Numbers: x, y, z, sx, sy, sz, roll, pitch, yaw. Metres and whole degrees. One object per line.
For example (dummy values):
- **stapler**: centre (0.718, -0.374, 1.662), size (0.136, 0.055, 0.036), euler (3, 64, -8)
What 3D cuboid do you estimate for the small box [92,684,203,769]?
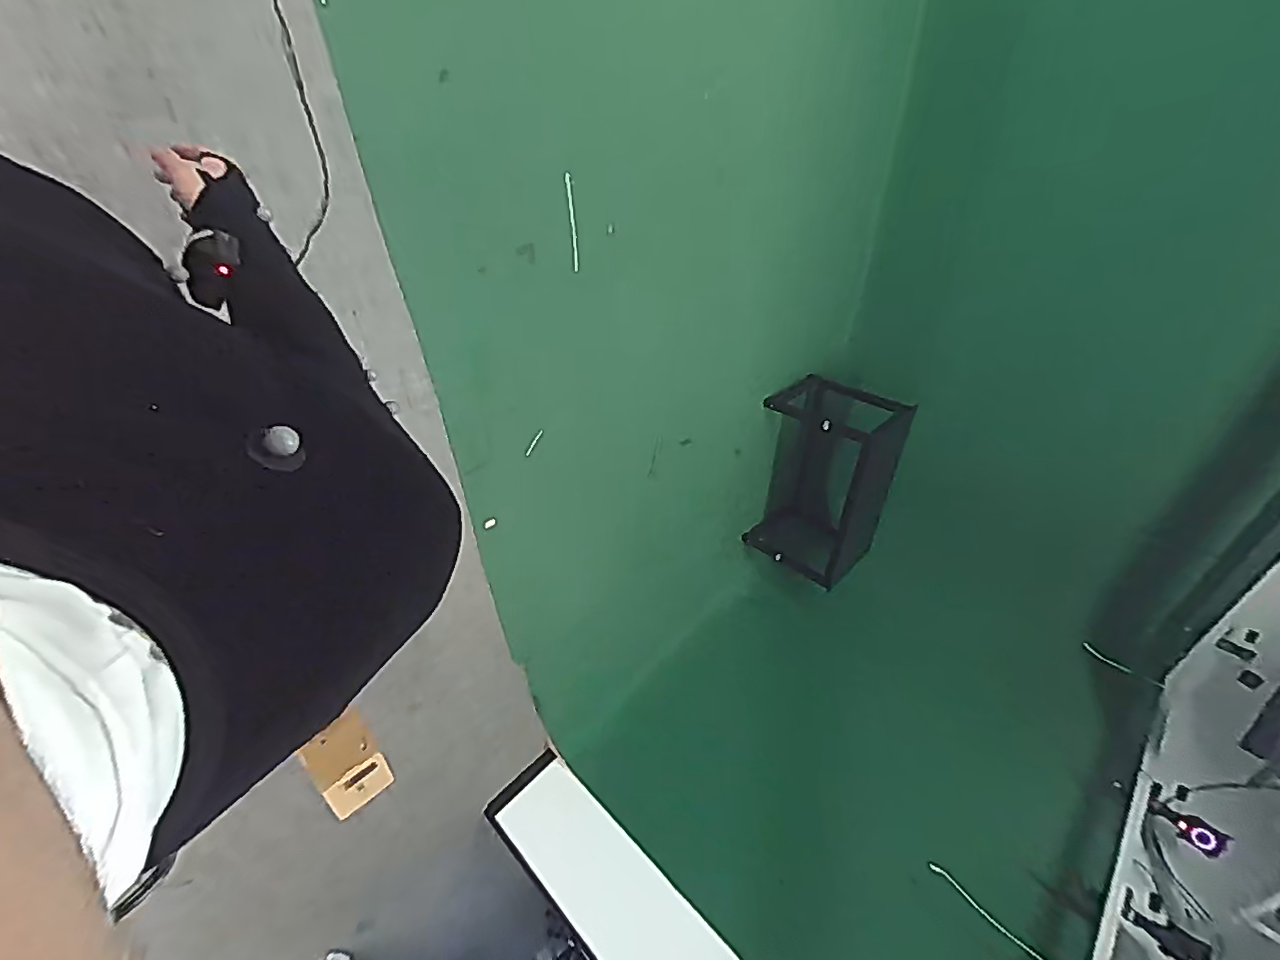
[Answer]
- **small box**: centre (-1.360, 0.709, 1.490), size (0.179, 0.176, 0.168), euler (-31, 136, -36)

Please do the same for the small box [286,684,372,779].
- **small box**: centre (-0.995, 0.794, 1.721), size (0.179, 0.176, 0.168), euler (-33, 136, -35)

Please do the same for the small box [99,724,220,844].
- **small box**: centre (-1.242, 0.778, 1.400), size (0.179, 0.176, 0.168), euler (-29, 134, -37)
